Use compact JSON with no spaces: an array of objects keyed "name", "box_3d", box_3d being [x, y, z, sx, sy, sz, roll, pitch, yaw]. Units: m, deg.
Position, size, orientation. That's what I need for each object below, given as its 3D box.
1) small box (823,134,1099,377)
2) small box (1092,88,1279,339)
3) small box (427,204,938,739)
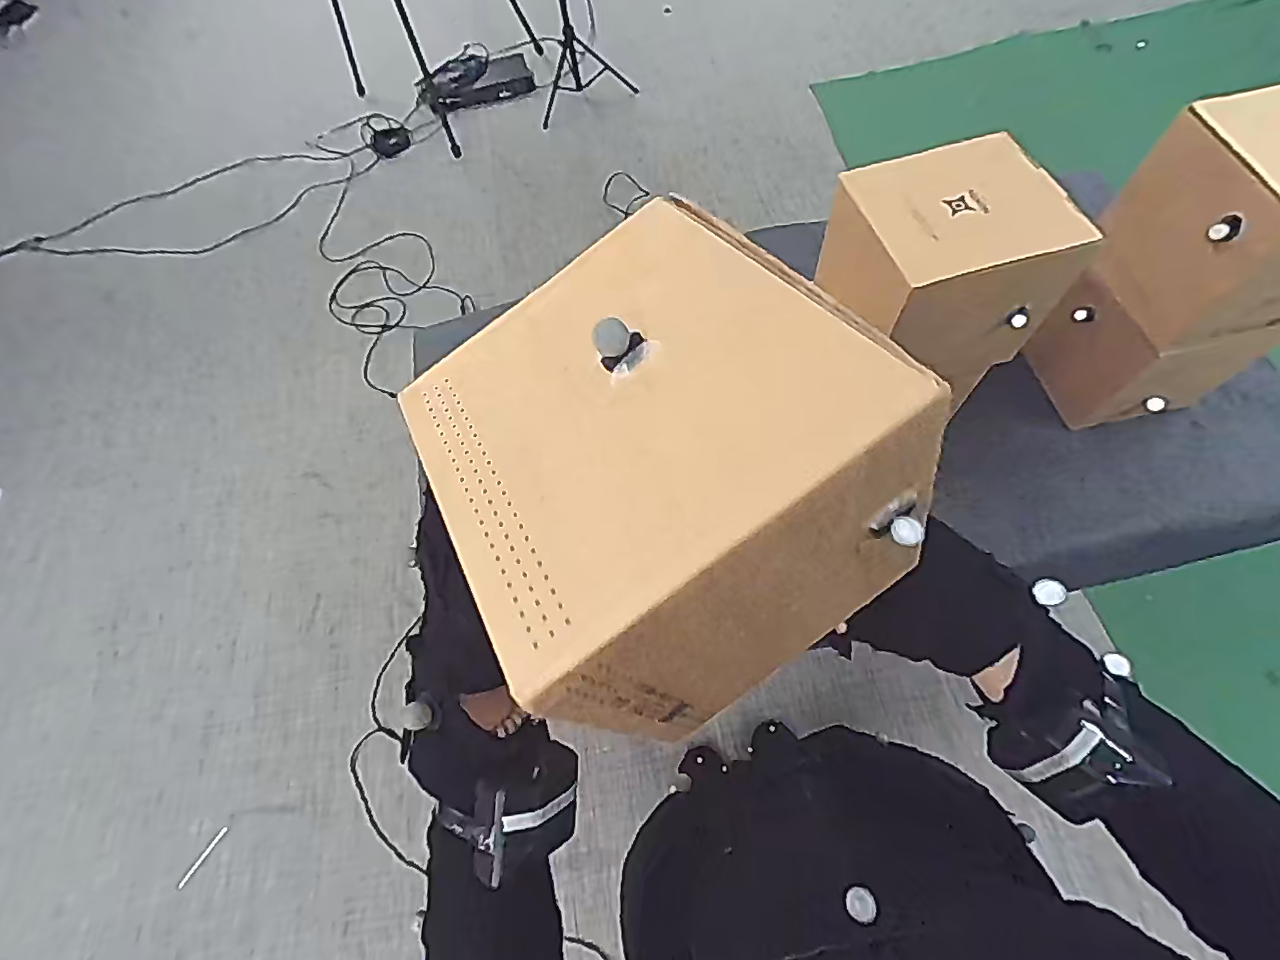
[{"name":"small box","box_3d":[0.310,-0.220,0.576,0.179,0.176,0.168,-14,63,1]},{"name":"small box","box_3d":[0.627,-0.265,0.556,0.168,0.176,0.179,-10,64,2]},{"name":"small box","box_3d":[0.018,0.000,0.285,0.176,0.168,0.179,-39,52,0]}]
